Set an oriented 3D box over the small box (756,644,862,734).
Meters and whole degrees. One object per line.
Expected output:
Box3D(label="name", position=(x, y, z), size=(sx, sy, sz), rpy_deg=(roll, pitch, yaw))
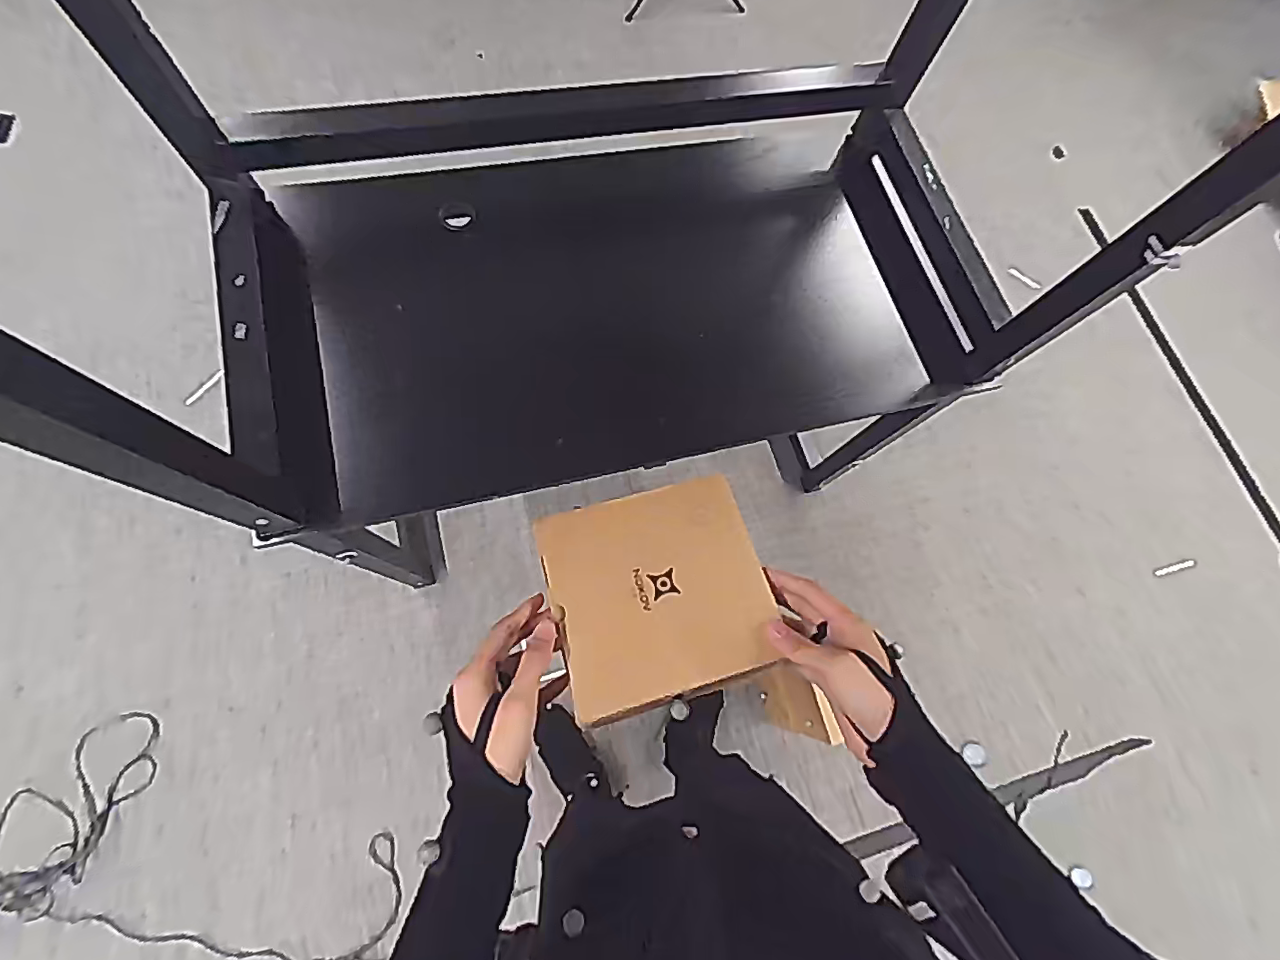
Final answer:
Box3D(label="small box", position=(0.422, 0.524, 1.381), size=(0.179, 0.176, 0.168), rpy_deg=(-15, 75, -10))
